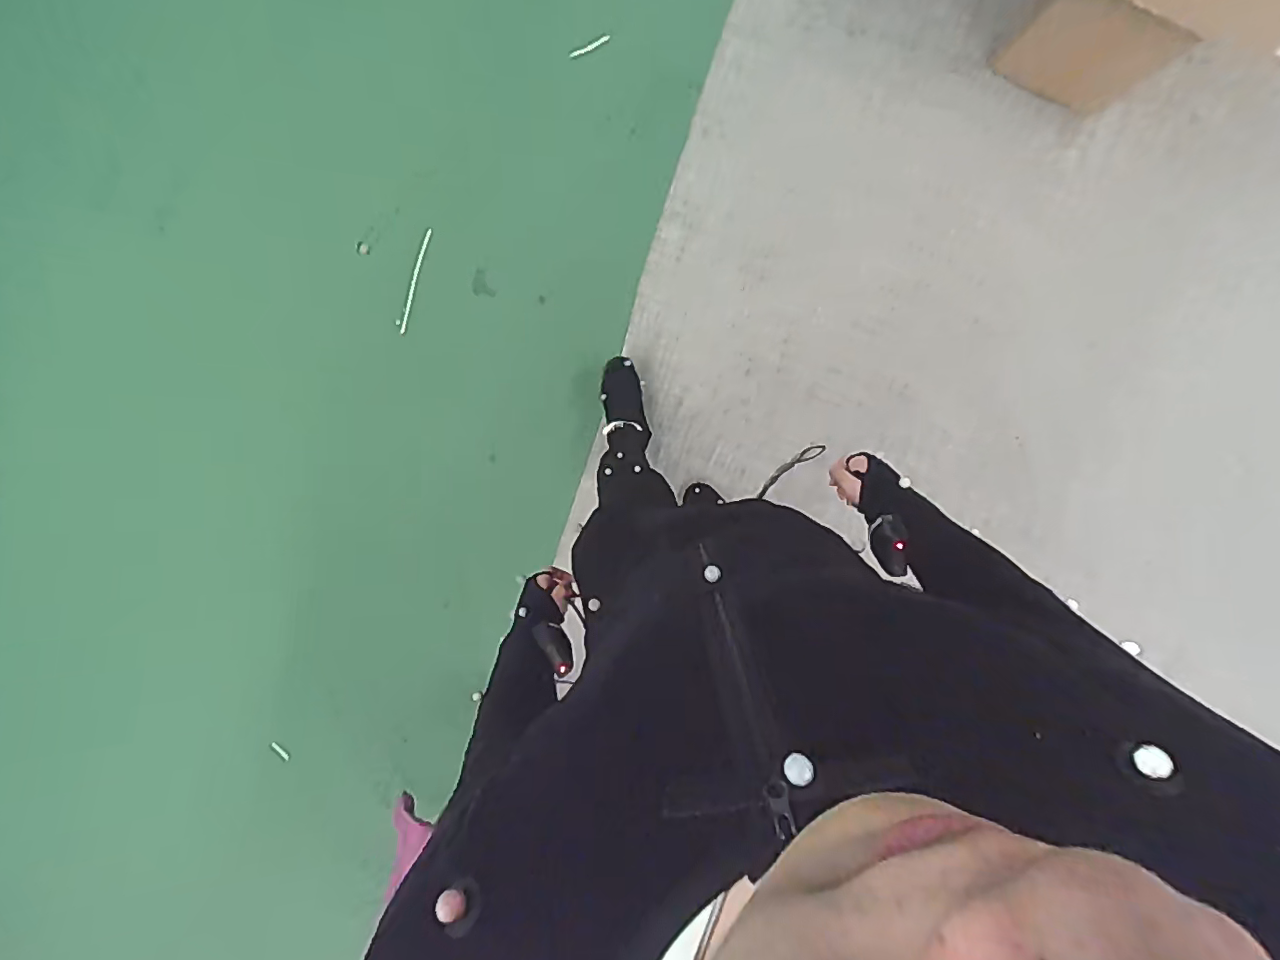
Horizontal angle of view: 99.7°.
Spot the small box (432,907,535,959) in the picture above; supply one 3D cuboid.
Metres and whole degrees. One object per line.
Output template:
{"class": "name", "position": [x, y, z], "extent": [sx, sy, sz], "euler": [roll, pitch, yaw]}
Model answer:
{"class": "small box", "position": [-0.294, 0.890, 0.915], "extent": [0.168, 0.176, 0.179], "euler": [21, 100, 0]}
